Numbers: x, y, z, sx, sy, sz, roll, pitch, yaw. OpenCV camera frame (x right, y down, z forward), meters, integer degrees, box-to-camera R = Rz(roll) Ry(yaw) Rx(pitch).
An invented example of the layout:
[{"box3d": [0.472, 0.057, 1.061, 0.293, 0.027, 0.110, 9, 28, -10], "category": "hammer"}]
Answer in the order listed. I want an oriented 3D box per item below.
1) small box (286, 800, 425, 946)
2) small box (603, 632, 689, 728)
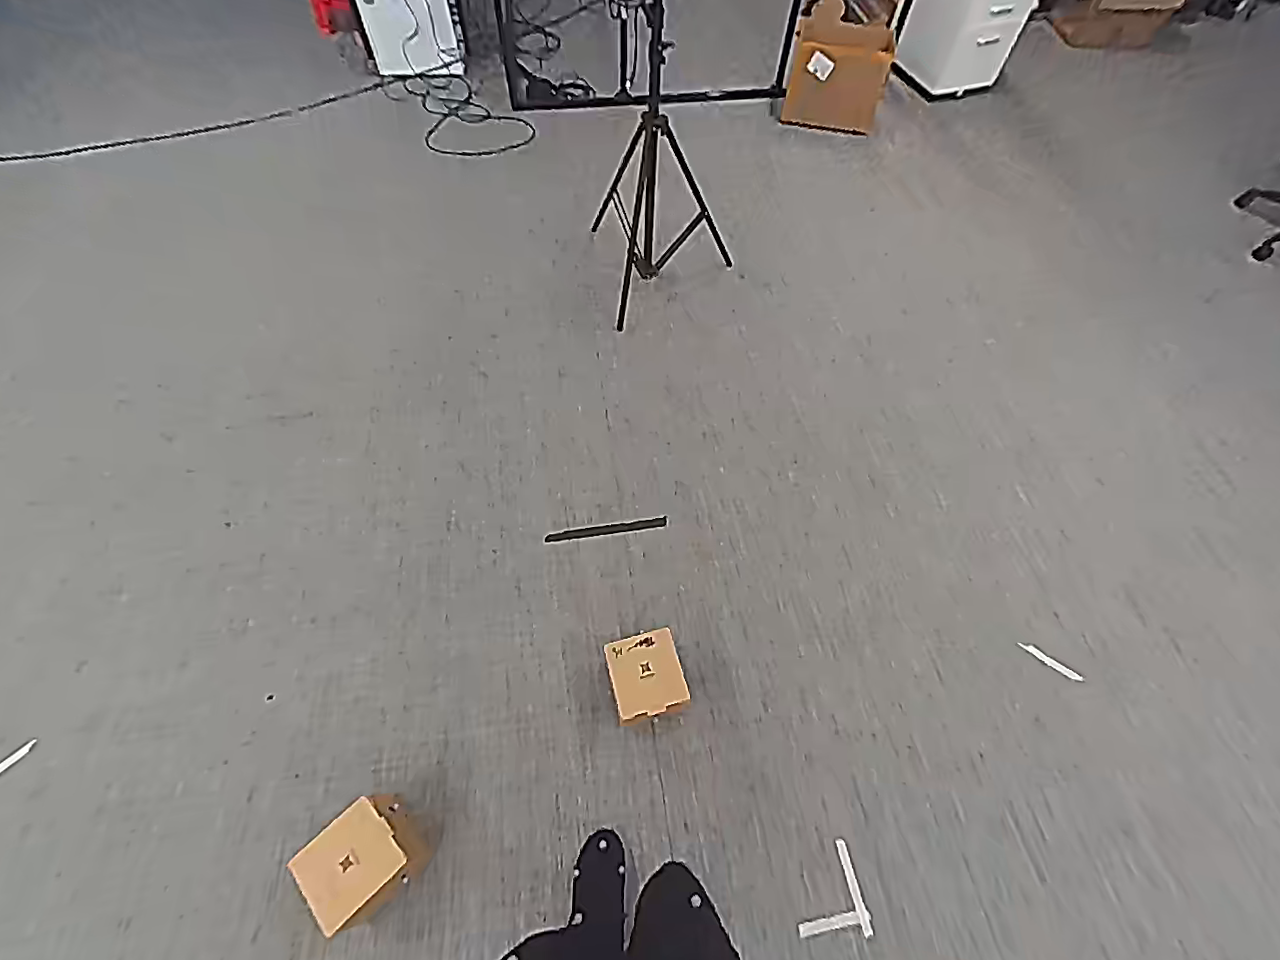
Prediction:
[{"box3d": [-0.572, 0.796, 1.118, 0.179, 0.176, 0.168, -40, 66, -21], "category": "small box"}, {"box3d": [0.011, 0.492, 1.313, 0.168, 0.176, 0.179, -13, 61, -9], "category": "small box"}]
